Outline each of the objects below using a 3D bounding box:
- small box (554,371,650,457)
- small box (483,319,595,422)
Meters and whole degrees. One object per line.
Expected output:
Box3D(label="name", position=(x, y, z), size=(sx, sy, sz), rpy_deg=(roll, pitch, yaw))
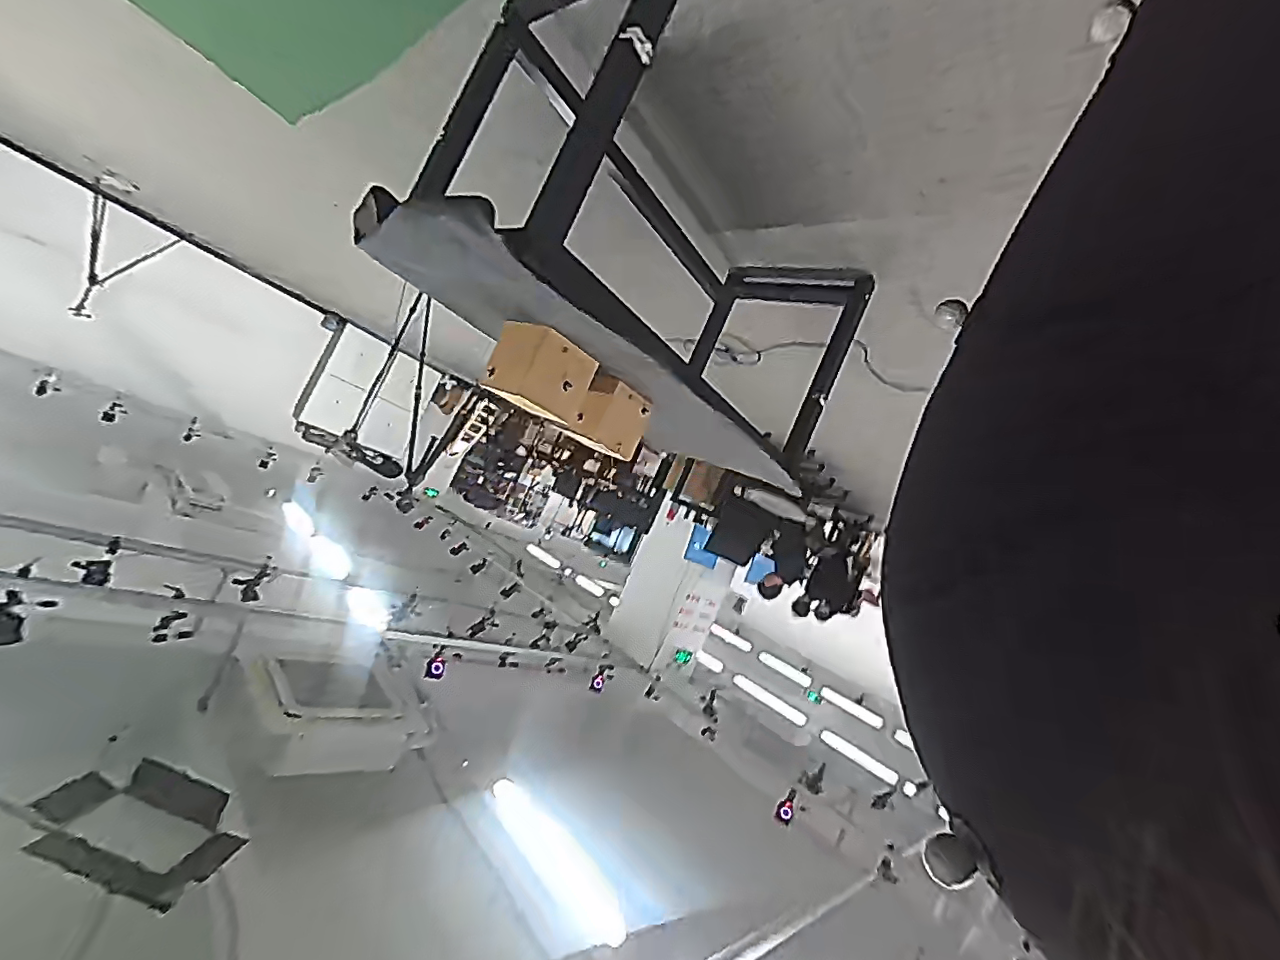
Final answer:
Box3D(label="small box", position=(-0.093, -0.182, 1.450), size=(0.179, 0.176, 0.168), rpy_deg=(22, 176, 39))
Box3D(label="small box", position=(-0.226, -0.256, 1.255), size=(0.179, 0.176, 0.168), rpy_deg=(22, 176, 42))
